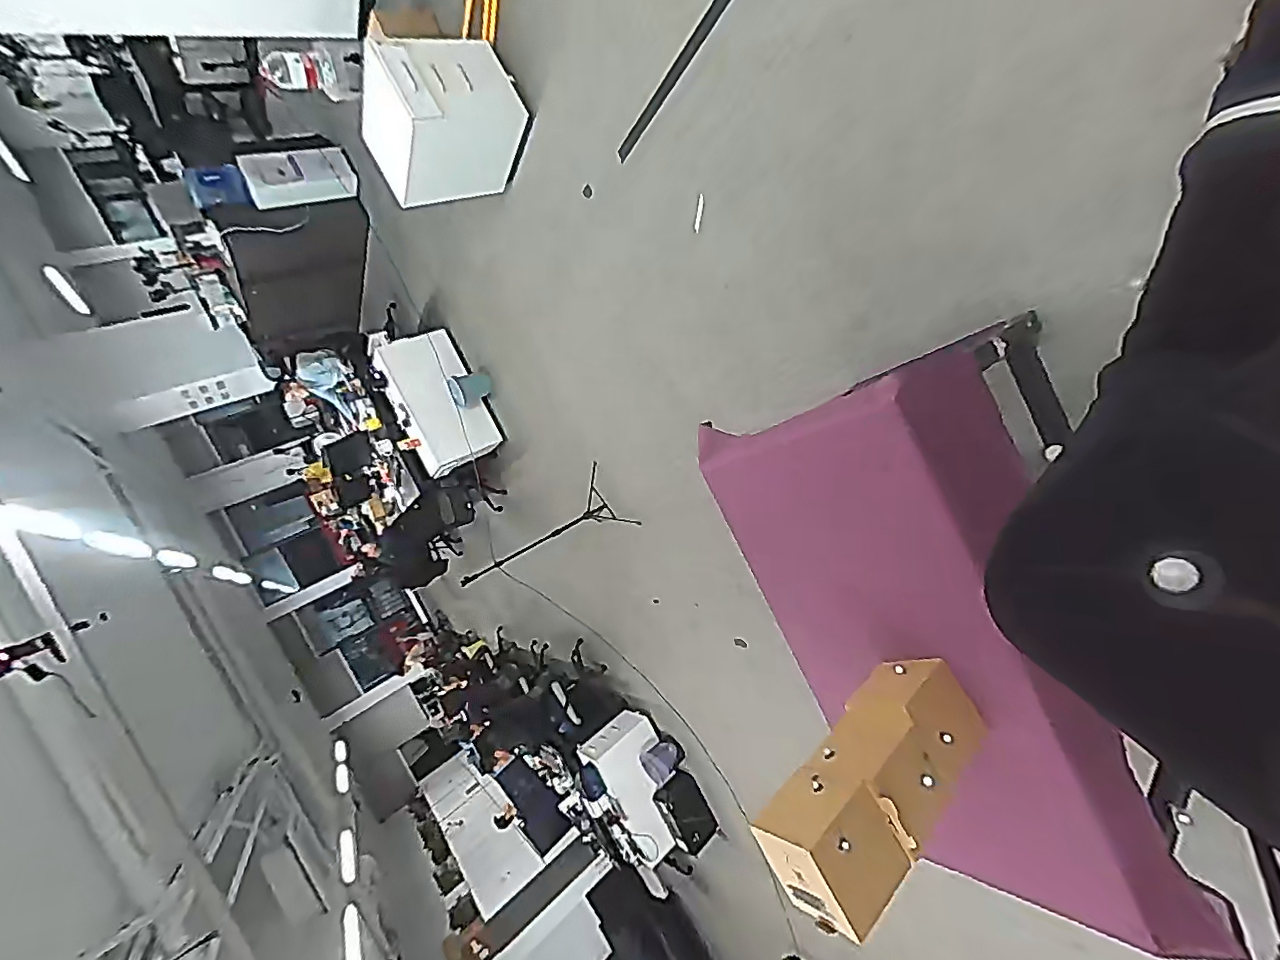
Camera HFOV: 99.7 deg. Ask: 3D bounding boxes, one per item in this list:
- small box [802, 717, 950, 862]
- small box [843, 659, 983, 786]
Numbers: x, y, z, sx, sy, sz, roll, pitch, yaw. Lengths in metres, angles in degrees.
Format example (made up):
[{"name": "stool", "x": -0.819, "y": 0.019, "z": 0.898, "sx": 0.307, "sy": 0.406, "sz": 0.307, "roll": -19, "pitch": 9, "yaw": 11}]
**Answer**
[{"name": "small box", "x": 0.465, "y": 0.596, "z": 1.070, "sx": 0.168, "sy": 0.176, "sz": 0.179, "roll": 60, "pitch": 149, "yaw": 1}, {"name": "small box", "x": 0.582, "y": 0.507, "z": 1.149, "sx": 0.179, "sy": 0.176, "sz": 0.168, "roll": 58, "pitch": 148, "yaw": 6}]
